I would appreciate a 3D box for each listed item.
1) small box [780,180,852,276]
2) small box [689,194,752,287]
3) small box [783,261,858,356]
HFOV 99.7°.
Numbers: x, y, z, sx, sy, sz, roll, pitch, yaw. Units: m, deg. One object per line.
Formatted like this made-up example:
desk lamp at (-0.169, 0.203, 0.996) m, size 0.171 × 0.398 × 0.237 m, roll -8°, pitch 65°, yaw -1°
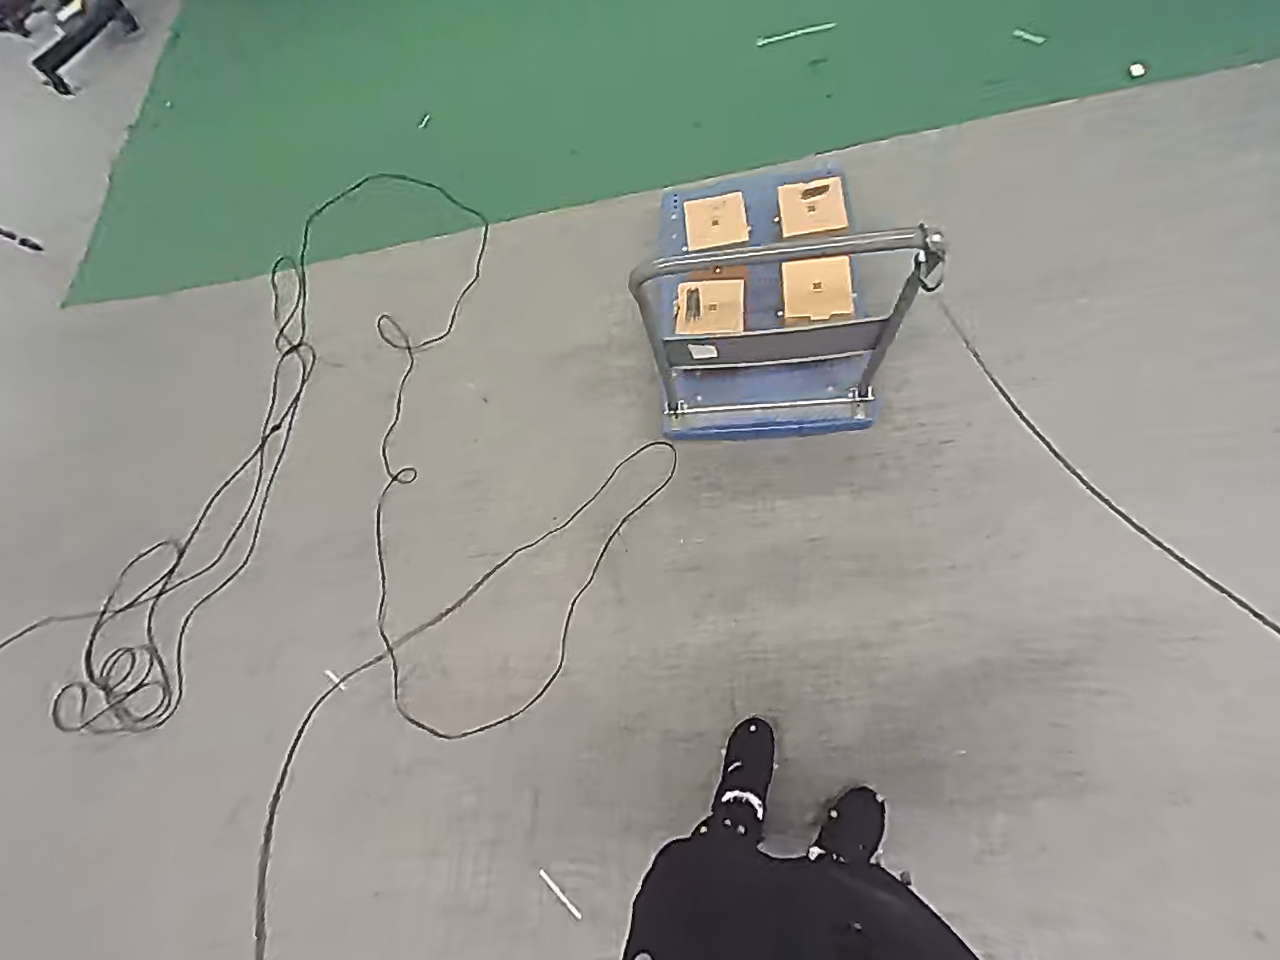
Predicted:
small box at (0.486, -0.695, 1.513) m, size 0.168 × 0.176 × 0.179 m, roll -4°, pitch 71°, yaw 11°
small box at (0.234, -0.680, 1.560) m, size 0.168 × 0.176 × 0.179 m, roll -5°, pitch 70°, yaw 9°
small box at (0.471, -0.450, 1.434) m, size 0.168 × 0.176 × 0.179 m, roll -1°, pitch 72°, yaw 11°
